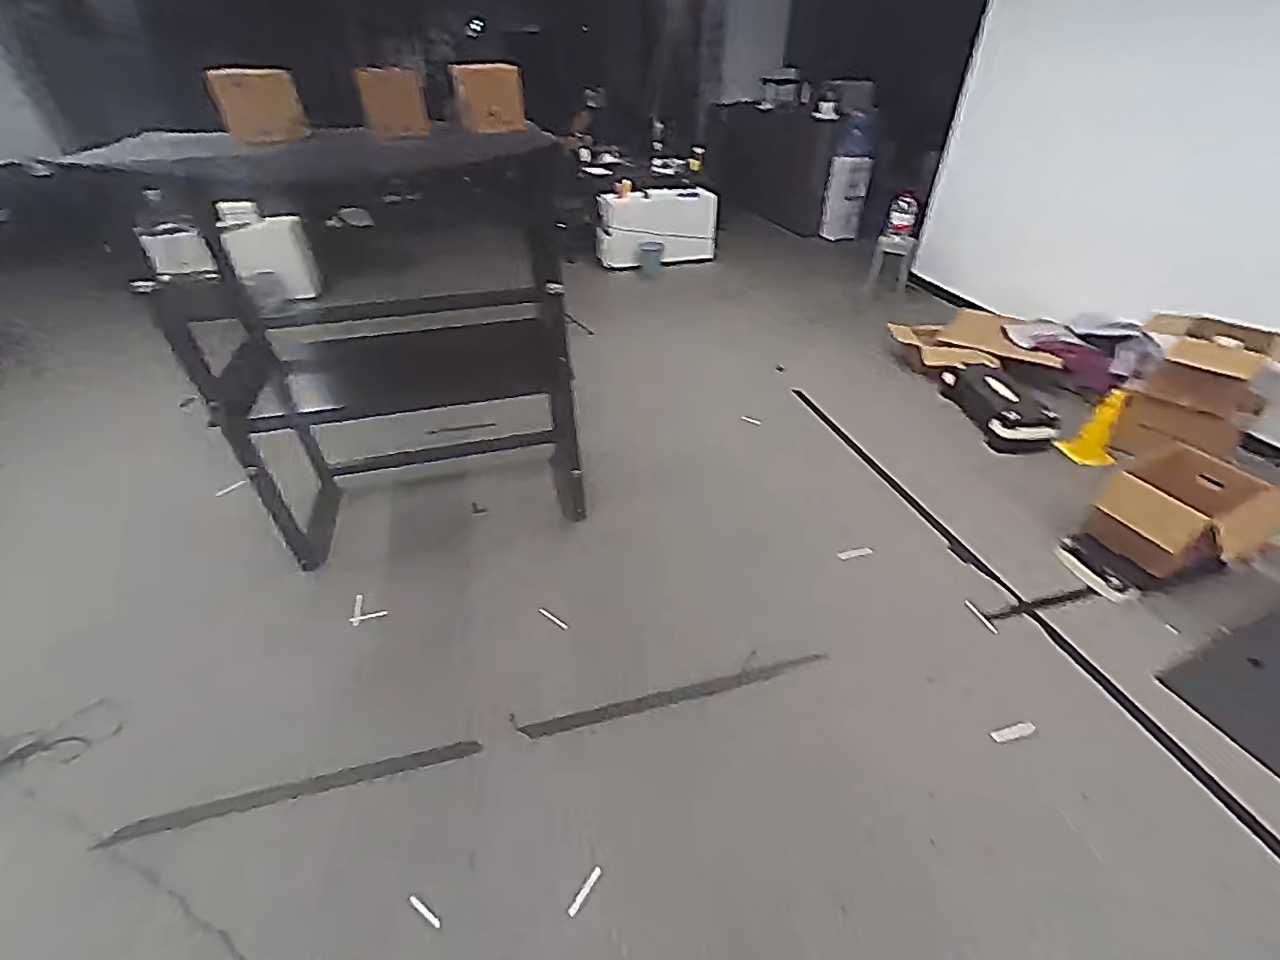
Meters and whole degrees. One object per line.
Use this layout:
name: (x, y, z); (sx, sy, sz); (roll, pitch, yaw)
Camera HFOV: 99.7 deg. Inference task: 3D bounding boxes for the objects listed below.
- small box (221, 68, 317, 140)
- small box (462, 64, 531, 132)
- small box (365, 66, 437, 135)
small box: (-1.106, -1.134, 1.630); (0.168, 0.176, 0.179); (-6, 39, -8)
small box: (-0.463, -1.239, 1.753); (0.168, 0.176, 0.179); (-18, 43, -19)
small box: (-0.734, -1.177, 1.681); (0.168, 0.176, 0.179); (-11, 39, -13)
